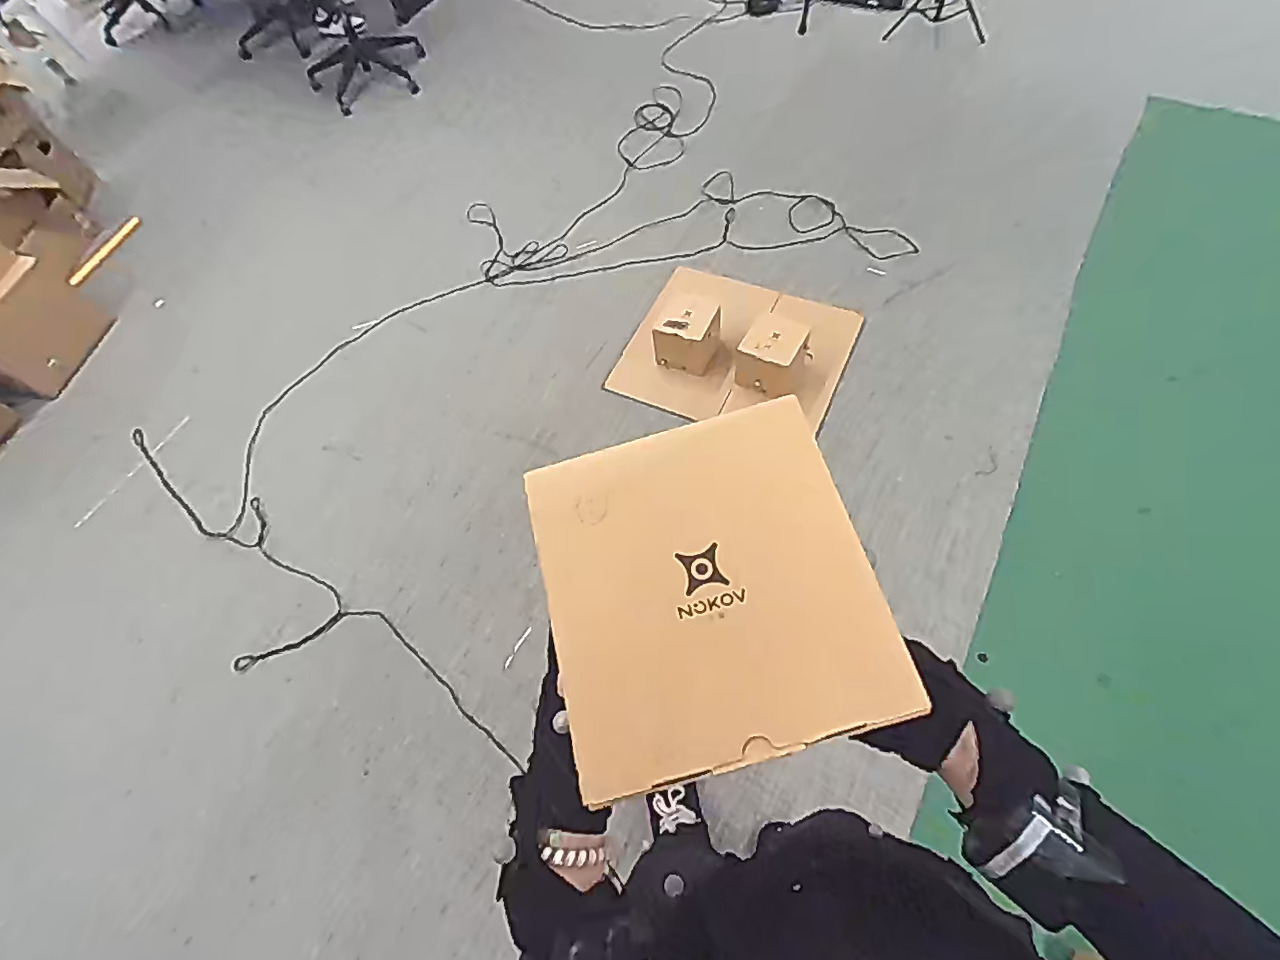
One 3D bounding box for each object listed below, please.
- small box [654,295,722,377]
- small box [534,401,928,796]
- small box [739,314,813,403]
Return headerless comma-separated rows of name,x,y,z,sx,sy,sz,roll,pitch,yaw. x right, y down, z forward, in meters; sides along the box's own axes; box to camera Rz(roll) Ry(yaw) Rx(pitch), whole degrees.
small box,0.161,-0.464,1.758,0.168,0.176,0.179,20,66,17
small box,0.043,0.080,0.356,0.168,0.176,0.179,-16,68,0
small box,0.417,-0.375,1.684,0.168,0.176,0.179,26,69,20
